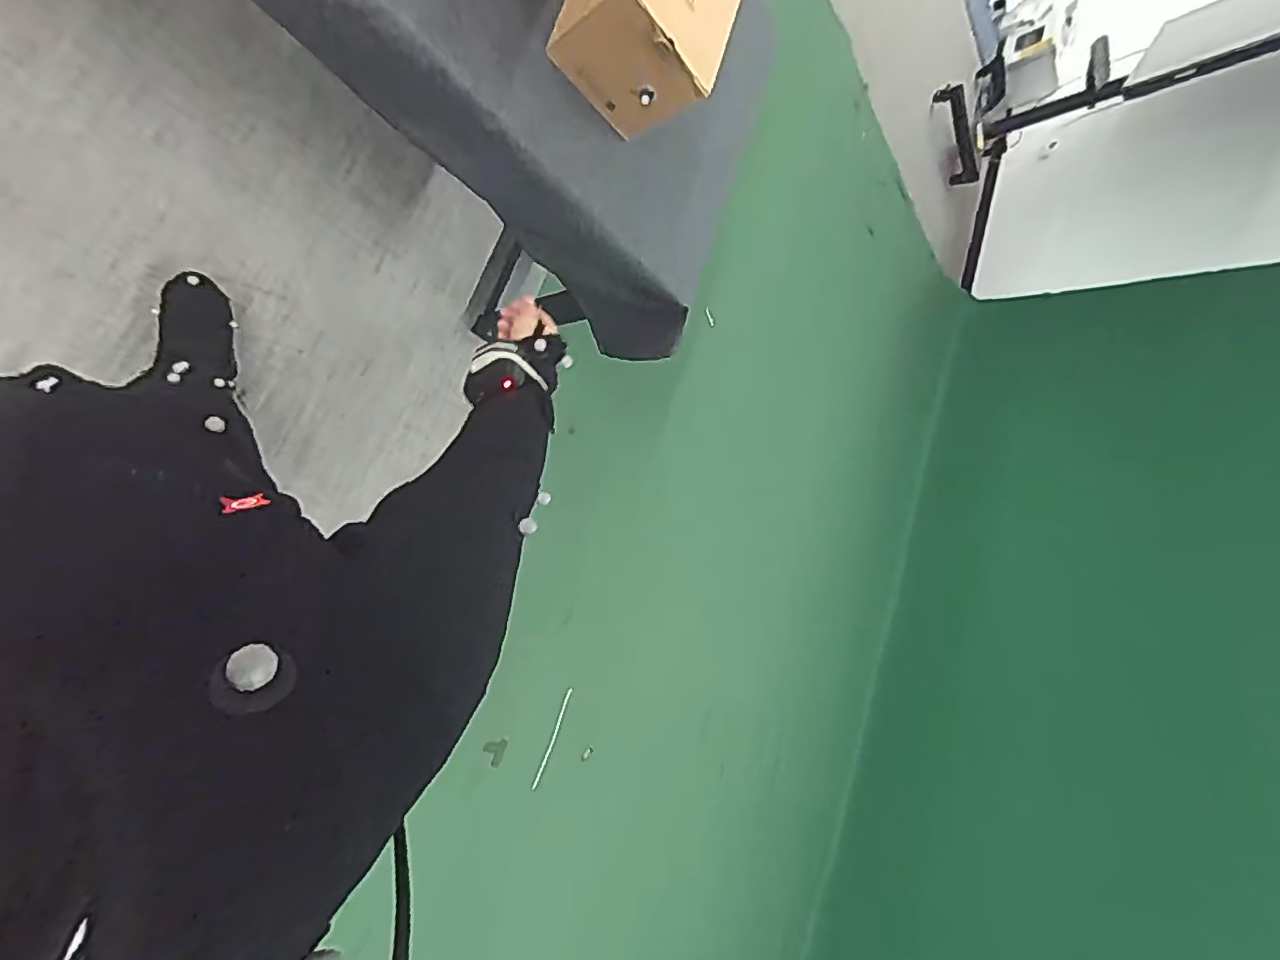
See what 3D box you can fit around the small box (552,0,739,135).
[{"bbox_3d":[0.005,-0.621,0.737,0.168,0.176,0.179,26,75,-44],"label":"small box"}]
